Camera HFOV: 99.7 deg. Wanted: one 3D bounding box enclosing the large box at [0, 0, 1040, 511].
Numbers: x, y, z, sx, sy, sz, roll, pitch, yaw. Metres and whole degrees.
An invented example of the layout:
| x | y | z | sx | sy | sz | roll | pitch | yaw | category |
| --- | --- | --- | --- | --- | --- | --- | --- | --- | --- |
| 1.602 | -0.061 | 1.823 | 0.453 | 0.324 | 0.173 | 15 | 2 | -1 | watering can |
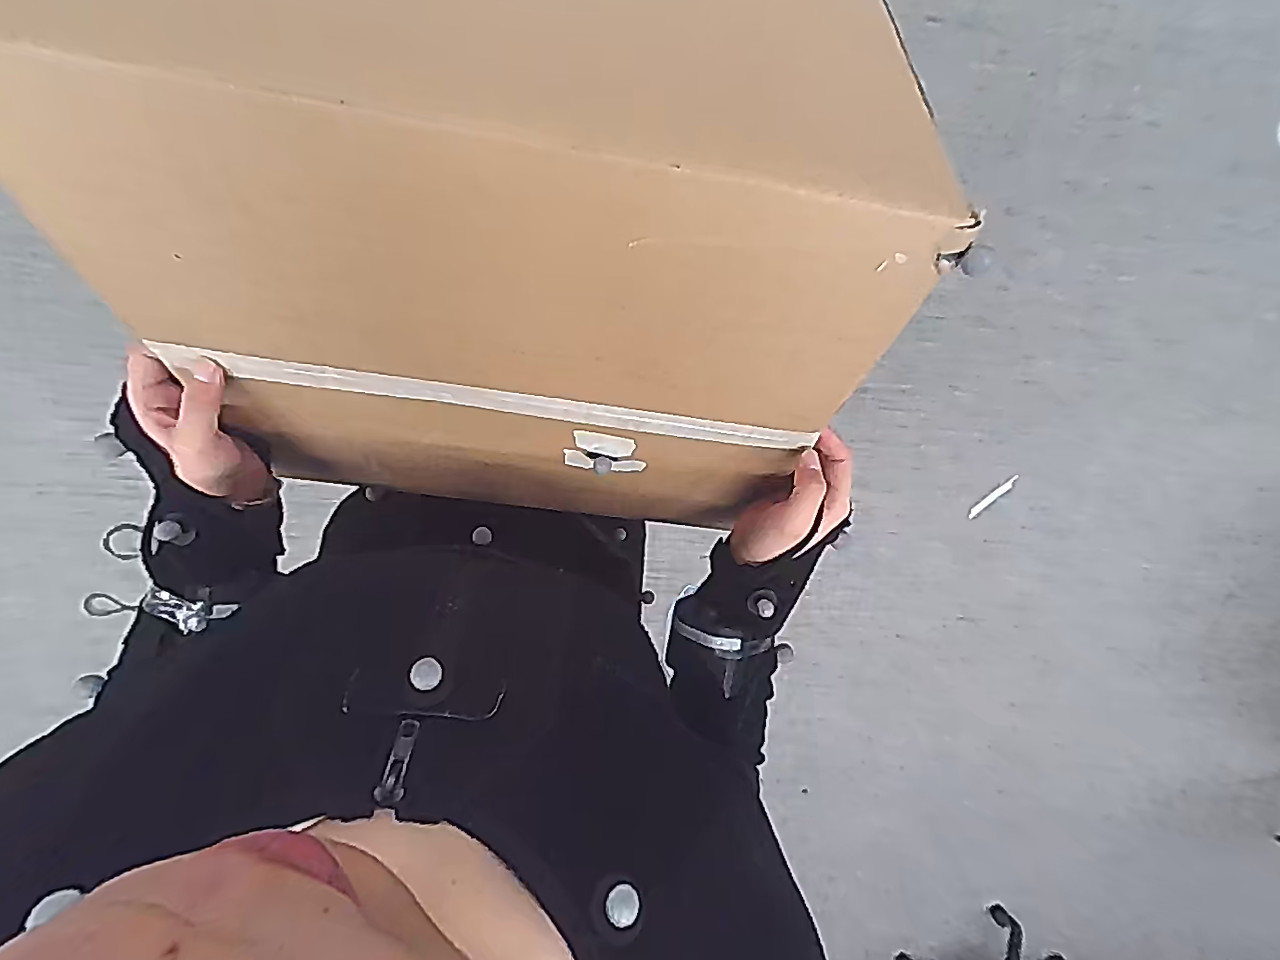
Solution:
| x | y | z | sx | sy | sz | roll | pitch | yaw | category |
| --- | --- | --- | --- | --- | --- | --- | --- | --- | --- |
| -0.061 | -0.198 | 0.384 | 0.408 | 0.320 | 0.320 | 6 | 61 | -6 | large box |
